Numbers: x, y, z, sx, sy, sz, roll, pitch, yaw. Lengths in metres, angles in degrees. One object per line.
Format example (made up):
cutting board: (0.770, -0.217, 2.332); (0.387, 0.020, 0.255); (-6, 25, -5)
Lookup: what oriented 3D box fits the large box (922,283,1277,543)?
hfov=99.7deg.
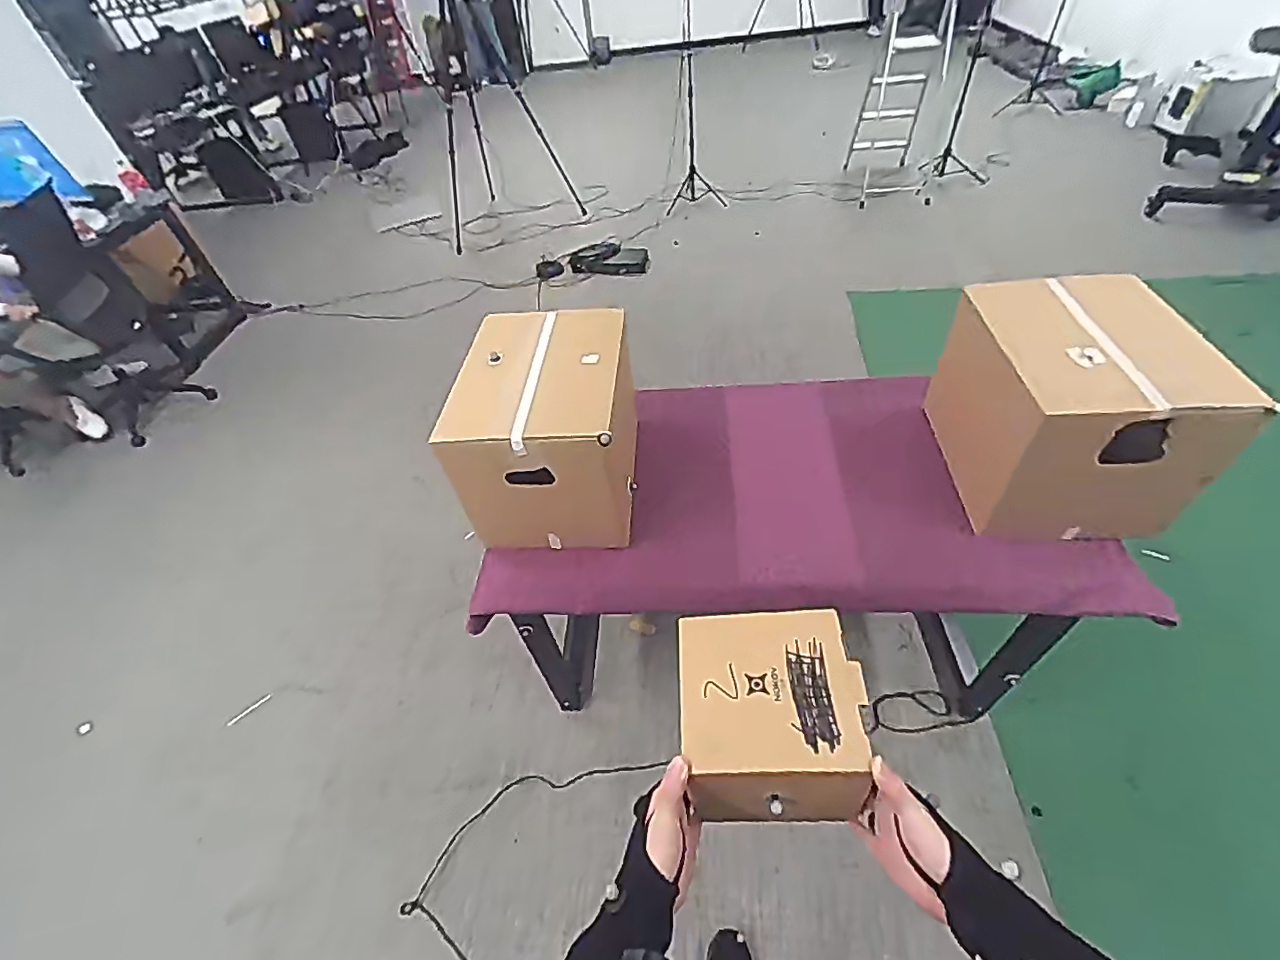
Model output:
large box: (0.792, -0.130, 1.032); (0.320, 0.320, 0.408); (-1, 48, 8)
